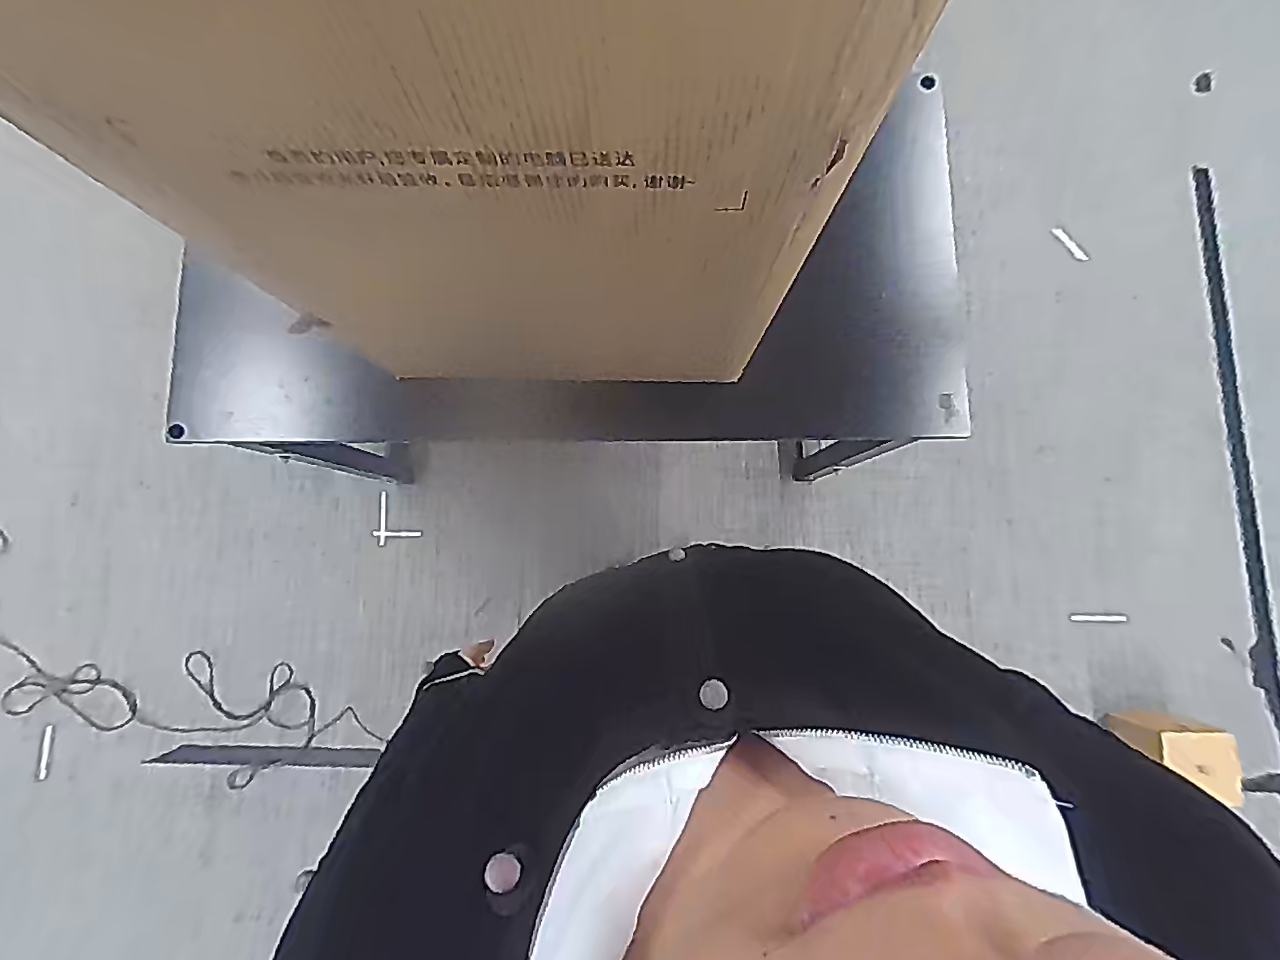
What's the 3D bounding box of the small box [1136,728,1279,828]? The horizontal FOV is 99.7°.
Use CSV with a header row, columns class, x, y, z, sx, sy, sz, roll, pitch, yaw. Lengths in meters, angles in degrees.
class,x,y,z,sx,sy,sz,roll,pitch,yaw
small box,1.356,0.705,1.295,0.179,0.176,0.168,-1,83,1
